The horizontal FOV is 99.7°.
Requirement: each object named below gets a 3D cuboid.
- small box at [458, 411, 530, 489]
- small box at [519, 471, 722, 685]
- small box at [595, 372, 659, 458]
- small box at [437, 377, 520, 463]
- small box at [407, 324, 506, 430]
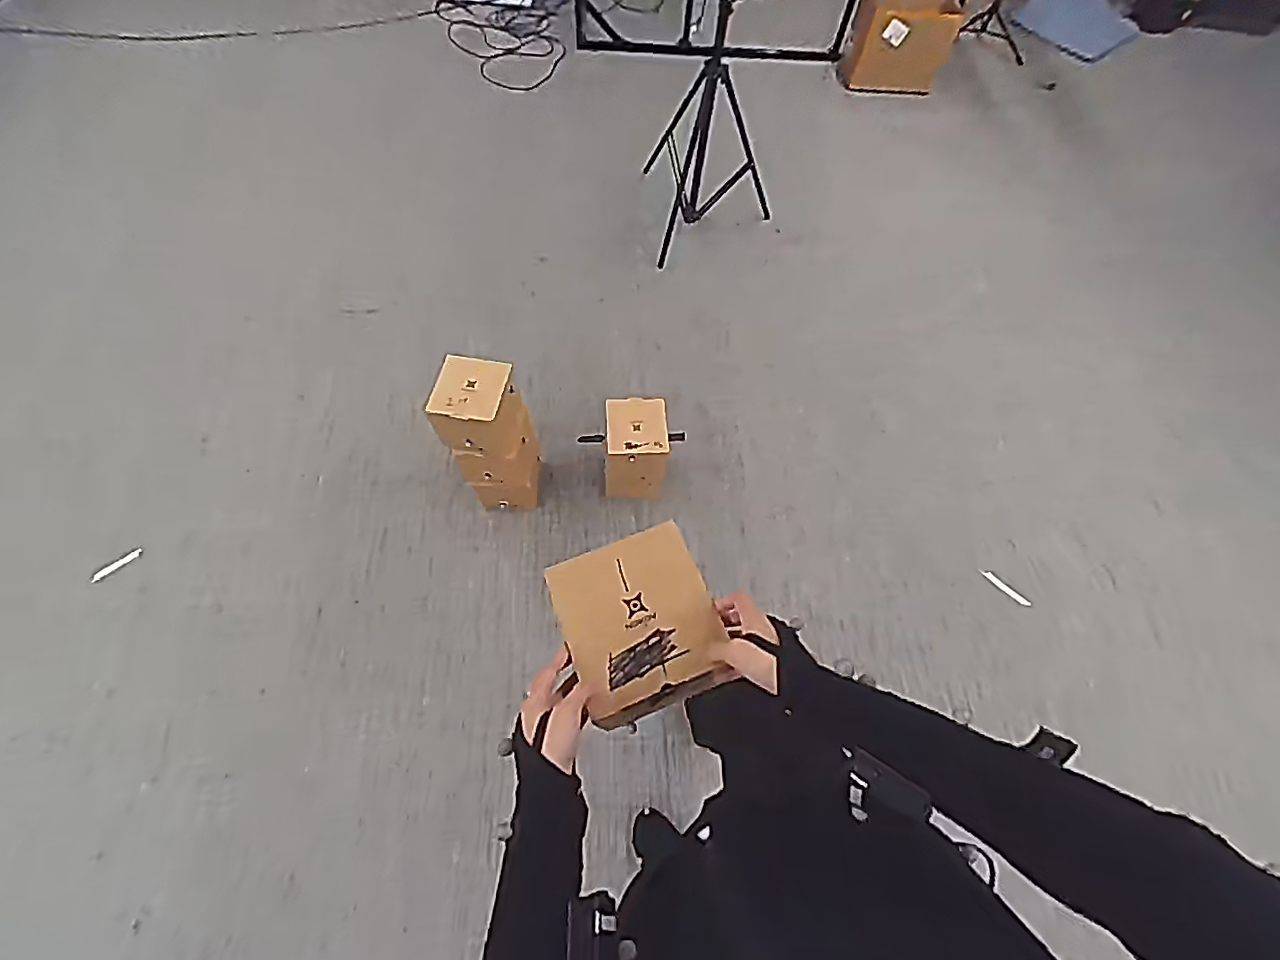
[{"bbox_3d":[-0.426,-0.091,1.602,0.168,0.176,0.179,1,63,-1],"label":"small box"},{"bbox_3d":[-0.021,0.122,0.623,0.168,0.176,0.179,-20,64,-9],"label":"small box"},{"bbox_3d":[-0.042,-0.177,1.491,0.168,0.176,0.179,-2,63,-5],"label":"small box"},{"bbox_3d":[-0.427,-0.166,1.461,0.168,0.176,0.179,4,64,-1],"label":"small box"},{"bbox_3d":[-0.435,-0.248,1.317,0.168,0.176,0.179,9,64,2],"label":"small box"}]
